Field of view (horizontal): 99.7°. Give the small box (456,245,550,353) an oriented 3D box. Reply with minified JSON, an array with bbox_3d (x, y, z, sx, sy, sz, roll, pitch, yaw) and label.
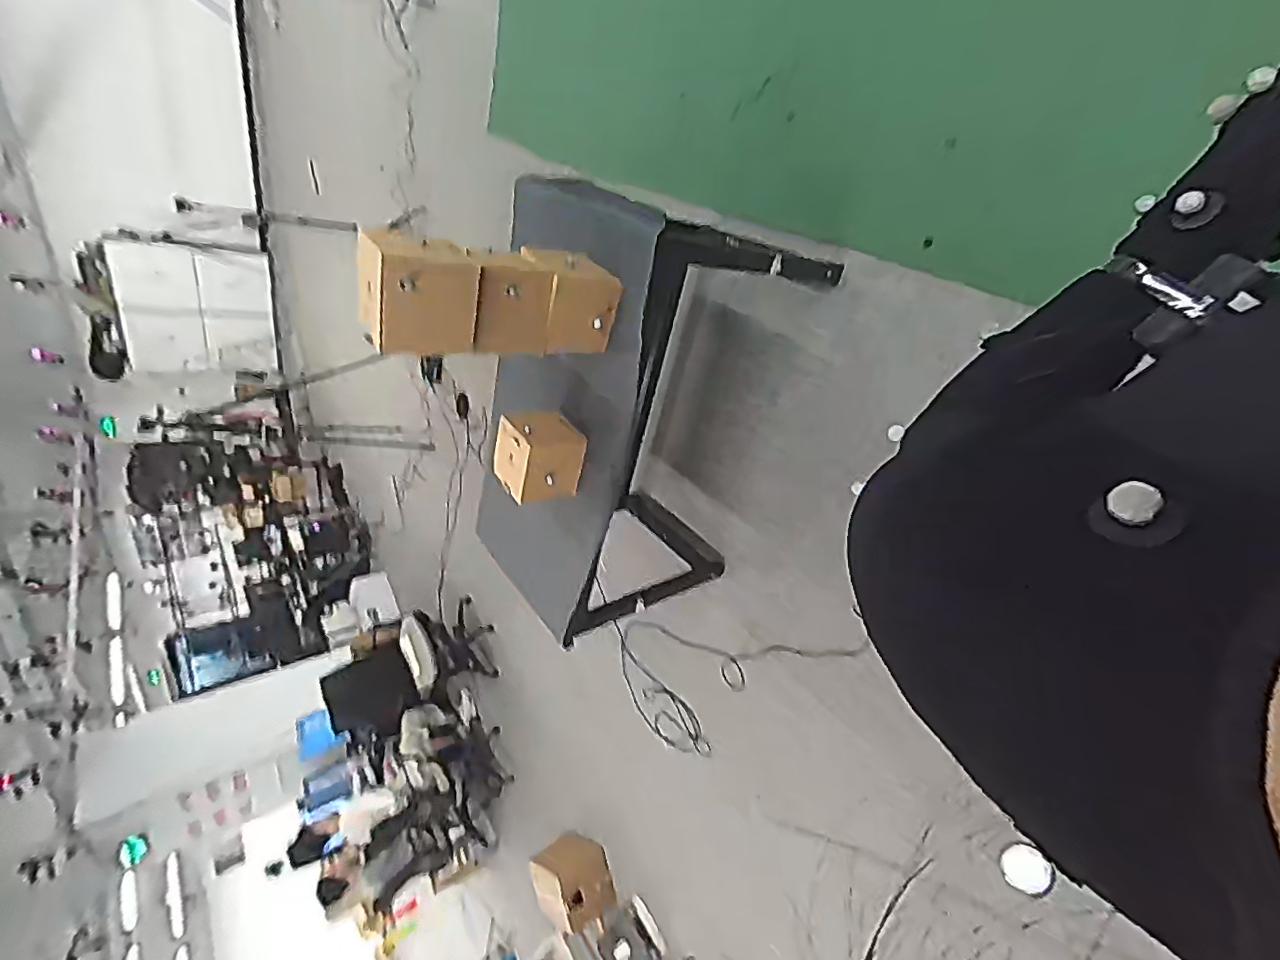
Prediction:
[{"bbox_3d":[-0.299,-0.373,1.116,0.168,0.176,0.179,41,130,41],"label":"small box"}]

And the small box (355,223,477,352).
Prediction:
[{"bbox_3d":[-0.413,-0.349,0.996,0.168,0.176,0.179,46,132,38],"label":"small box"}]

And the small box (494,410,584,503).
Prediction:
[{"bbox_3d":[-0.264,-0.067,1.411,0.168,0.176,0.179,43,130,37],"label":"small box"}]

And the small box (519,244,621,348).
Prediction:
[{"bbox_3d":[-0.170,-0.406,1.210,0.179,0.176,0.168,47,132,34],"label":"small box"}]
